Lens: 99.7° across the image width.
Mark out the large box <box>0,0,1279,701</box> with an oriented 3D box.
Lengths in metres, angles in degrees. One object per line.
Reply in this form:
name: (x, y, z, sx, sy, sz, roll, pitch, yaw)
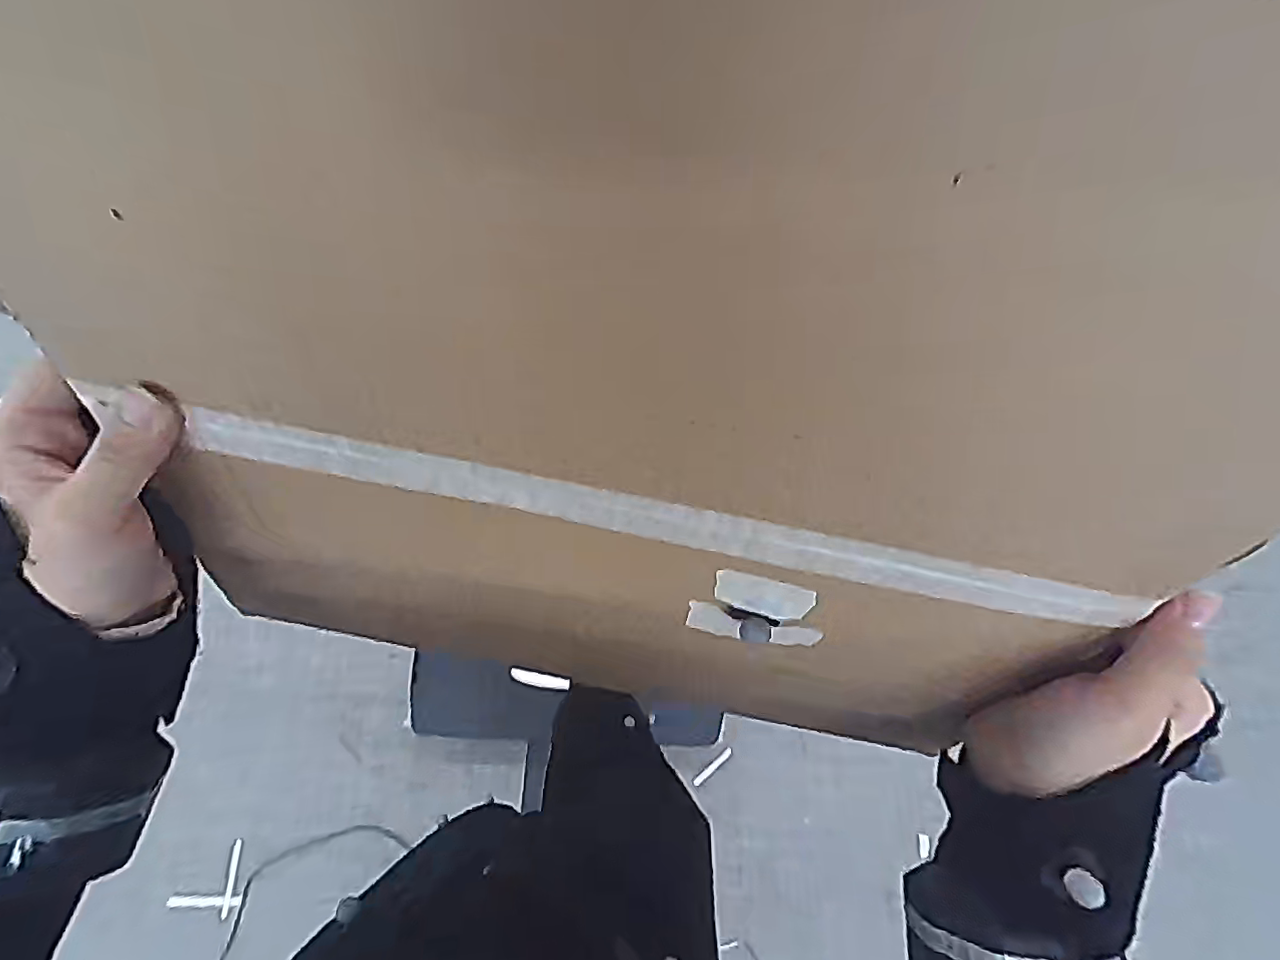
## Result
large box: (0.025, -0.121, 0.305, 0.408, 0.320, 0.320, 11, 45, 0)
